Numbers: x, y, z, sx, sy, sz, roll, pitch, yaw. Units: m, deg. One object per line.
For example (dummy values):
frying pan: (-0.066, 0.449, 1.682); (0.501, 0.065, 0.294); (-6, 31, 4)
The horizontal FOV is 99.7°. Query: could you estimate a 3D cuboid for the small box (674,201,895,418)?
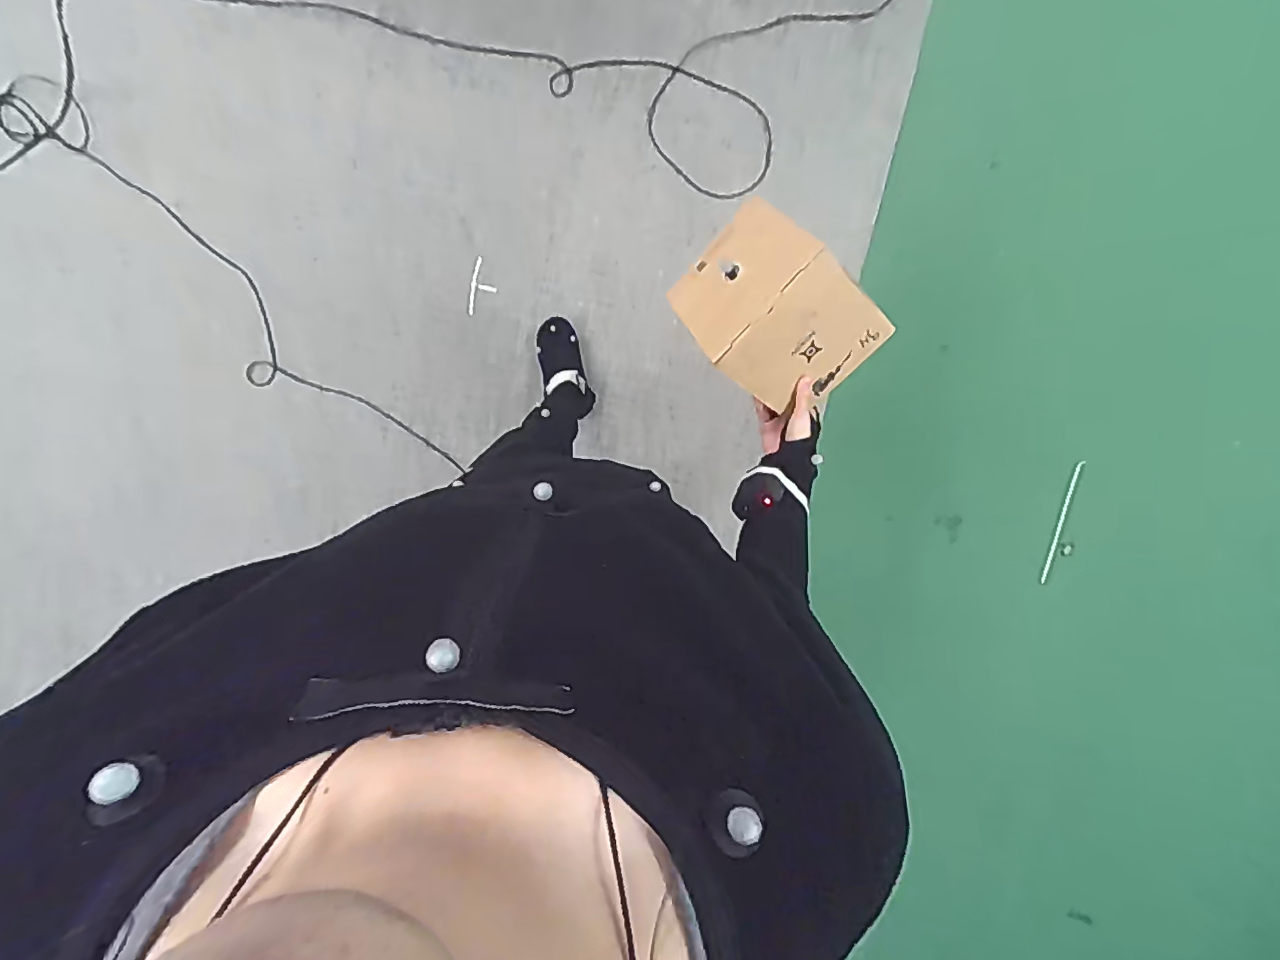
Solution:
small box: (0.170, -0.215, 0.675); (0.179, 0.176, 0.168); (25, 120, -39)
